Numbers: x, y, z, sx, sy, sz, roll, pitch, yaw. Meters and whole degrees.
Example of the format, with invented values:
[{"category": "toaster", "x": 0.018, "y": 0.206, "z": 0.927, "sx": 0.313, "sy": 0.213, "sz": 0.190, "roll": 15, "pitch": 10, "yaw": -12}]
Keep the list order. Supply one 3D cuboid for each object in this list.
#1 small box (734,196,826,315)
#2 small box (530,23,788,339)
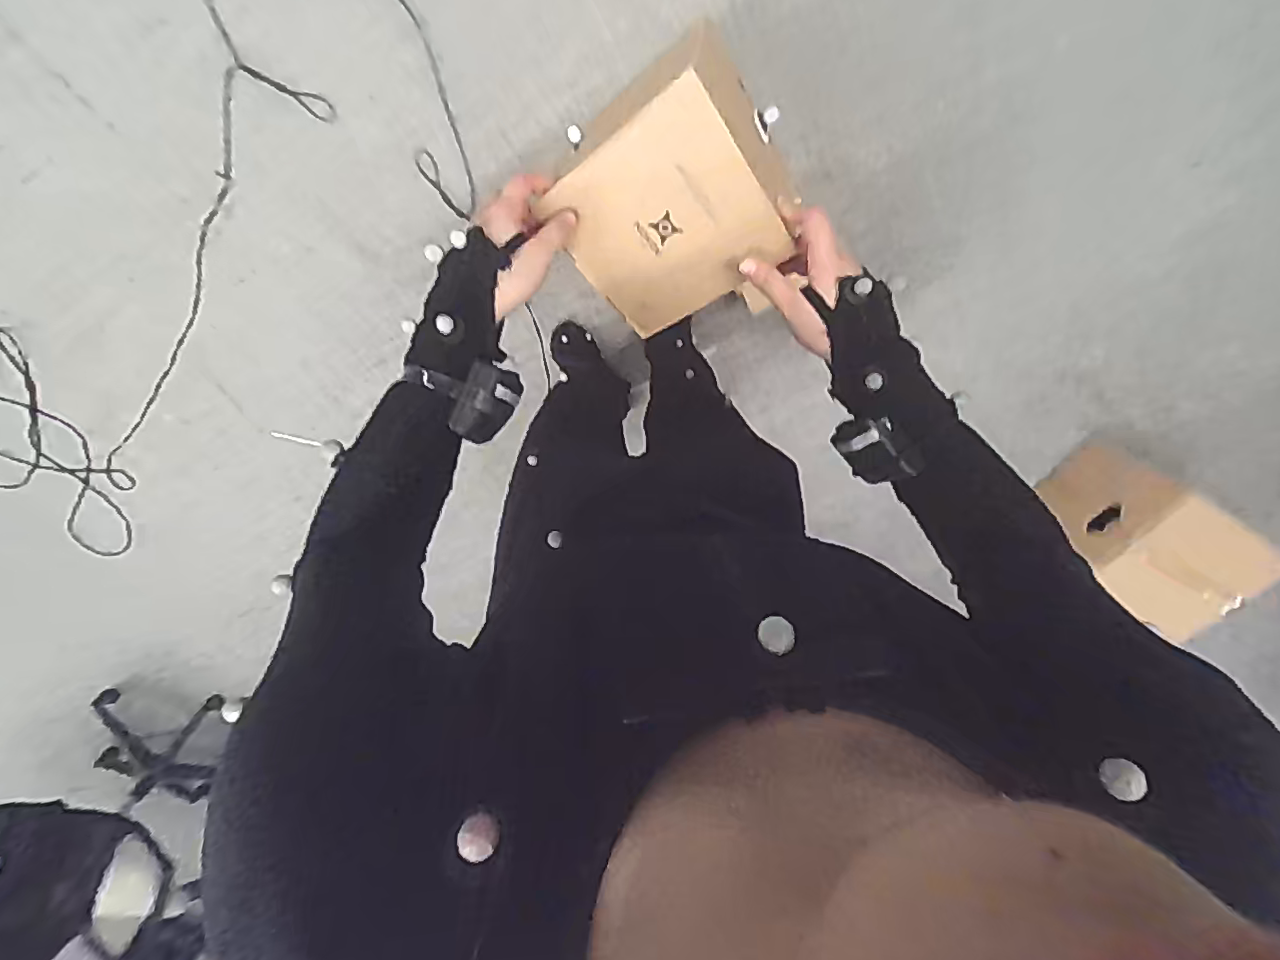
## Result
[{"category": "small box", "x": 0.271, "y": -0.487, "z": 1.166, "sx": 0.179, "sy": 0.176, "sz": 0.168, "roll": -27, "pitch": 117, "yaw": 14}, {"category": "small box", "x": 0.027, "y": -0.279, "z": 0.523, "sx": 0.179, "sy": 0.176, "sz": 0.168, "roll": -22, "pitch": 133, "yaw": 35}]
